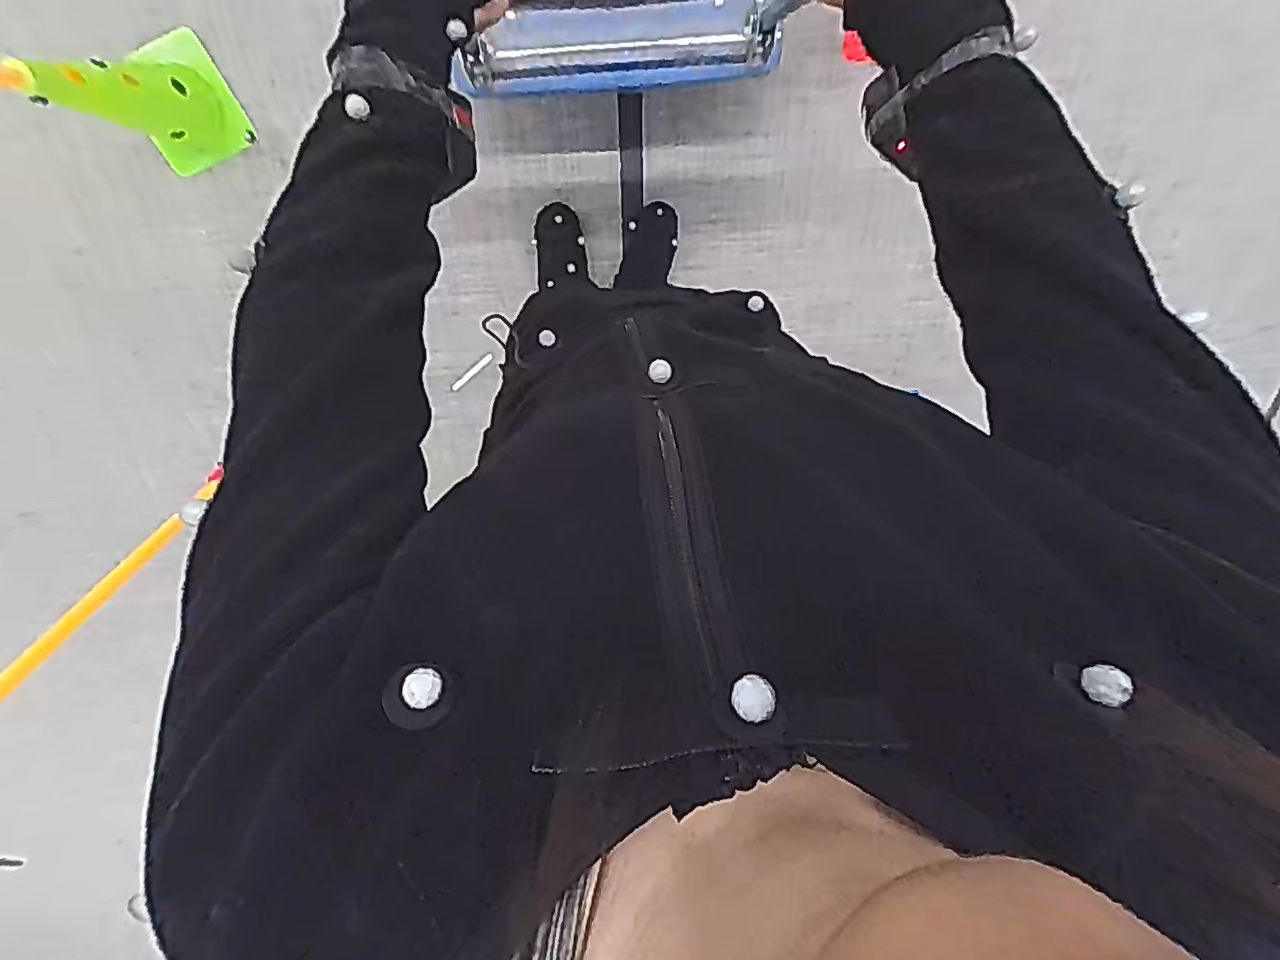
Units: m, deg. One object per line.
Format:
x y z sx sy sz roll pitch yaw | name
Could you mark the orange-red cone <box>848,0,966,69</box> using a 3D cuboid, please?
0.535 -0.852 0.908 0.199 0.360 0.198 2 119 -6 | orange-red cone
